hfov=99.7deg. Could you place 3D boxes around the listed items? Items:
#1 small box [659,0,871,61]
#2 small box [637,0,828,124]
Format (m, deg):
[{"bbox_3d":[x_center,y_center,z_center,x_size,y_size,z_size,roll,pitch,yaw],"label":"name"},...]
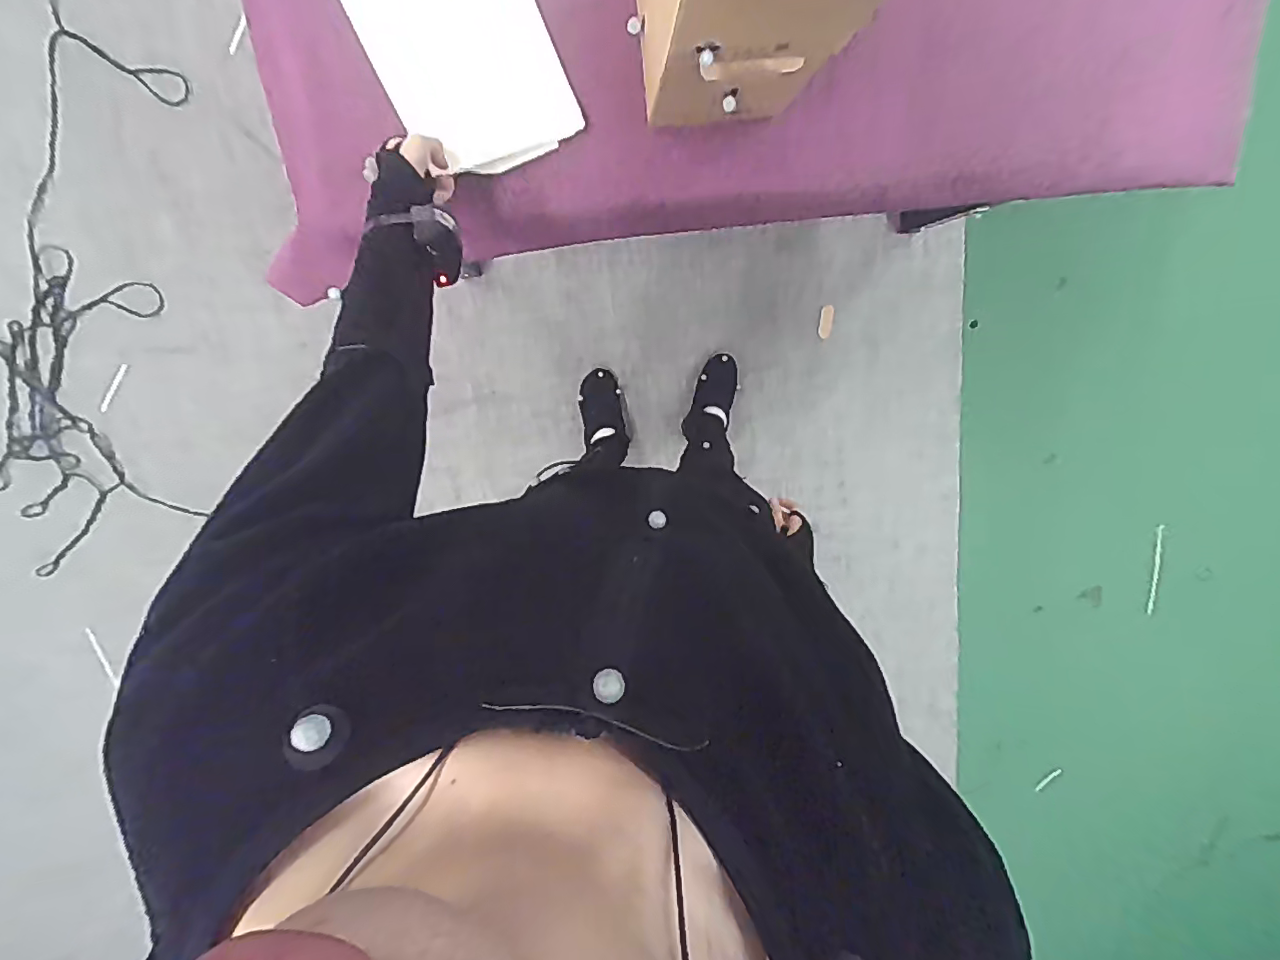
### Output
[{"bbox_3d":[0.102,-0.452,0.408,0.168,0.176,0.179,-7,103,-3],"label":"small box"},{"bbox_3d":[0.088,-0.498,0.566,0.168,0.176,0.179,-7,105,-3],"label":"small box"}]
